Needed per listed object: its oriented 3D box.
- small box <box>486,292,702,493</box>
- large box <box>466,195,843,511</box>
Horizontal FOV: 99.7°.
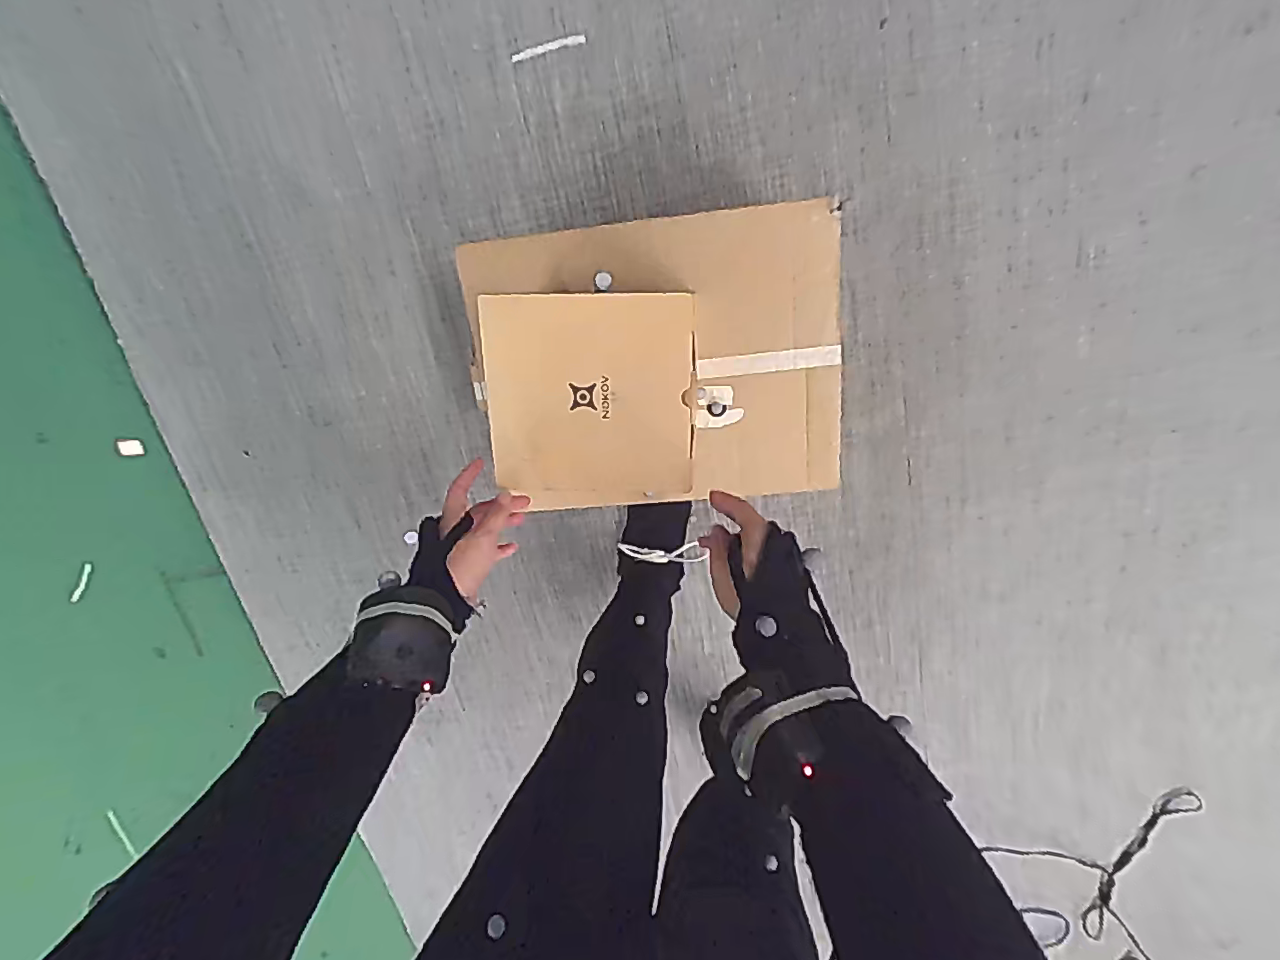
[{"bbox_3d":[-0.031,-0.092,0.524,0.179,0.176,0.168,1,107,4],"label":"small box"},{"bbox_3d":[0.032,-0.170,0.750,0.408,0.320,0.320,-5,109,5],"label":"large box"}]
